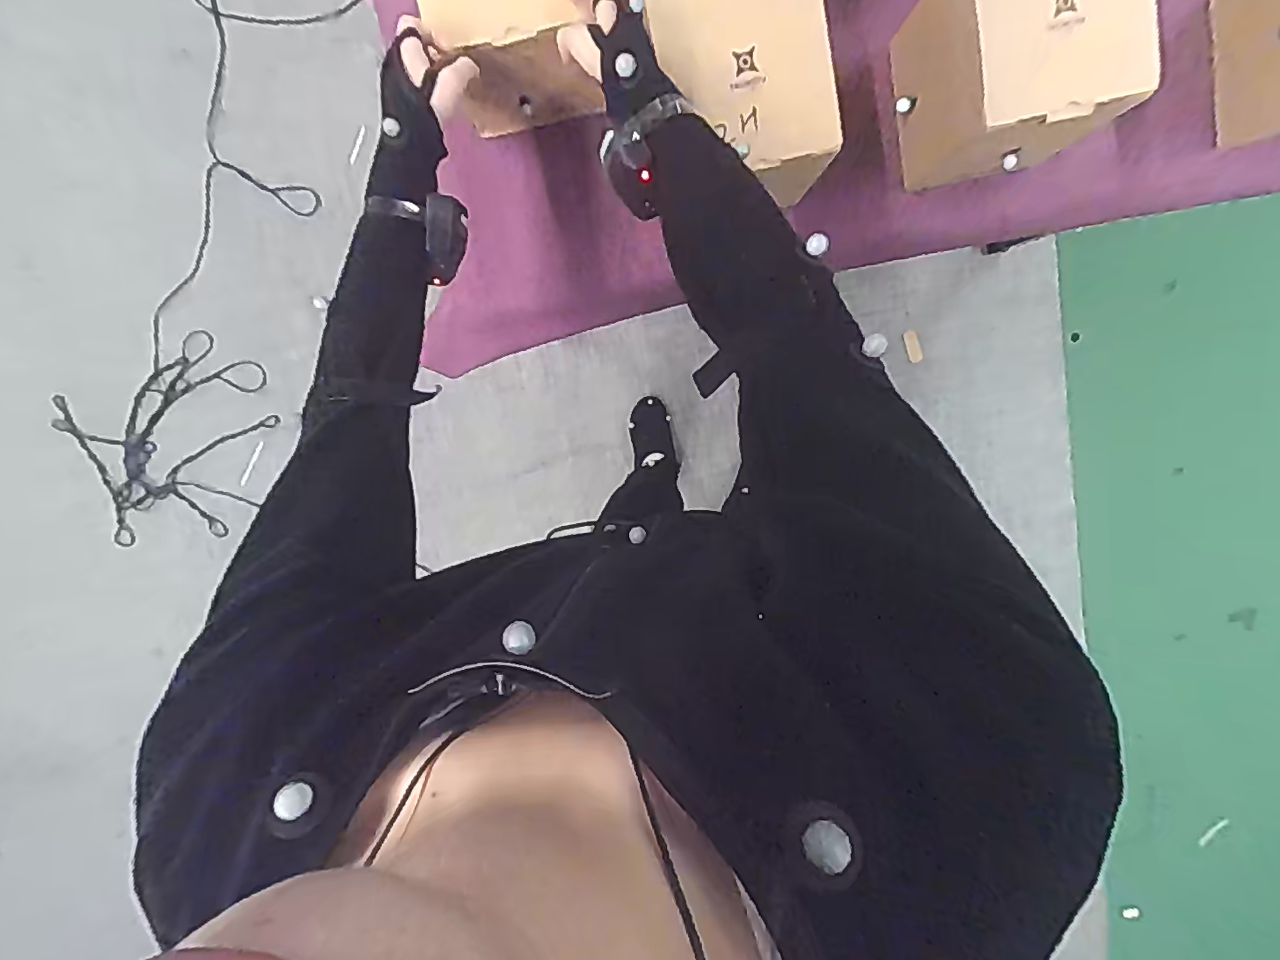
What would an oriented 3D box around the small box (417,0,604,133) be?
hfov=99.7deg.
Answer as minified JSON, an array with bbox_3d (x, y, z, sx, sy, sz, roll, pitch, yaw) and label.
[{"bbox_3d":[-0.137,-0.512,0.575,0.168,0.176,0.179,-12,100,2],"label":"small box"}]

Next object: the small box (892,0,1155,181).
[{"bbox_3d":[0.395,-0.447,0.583,0.168,0.176,0.179,-11,100,1],"label":"small box"}]

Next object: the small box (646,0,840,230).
[{"bbox_3d":[0.100,-0.402,0.594,0.168,0.176,0.179,-11,100,3],"label":"small box"}]
